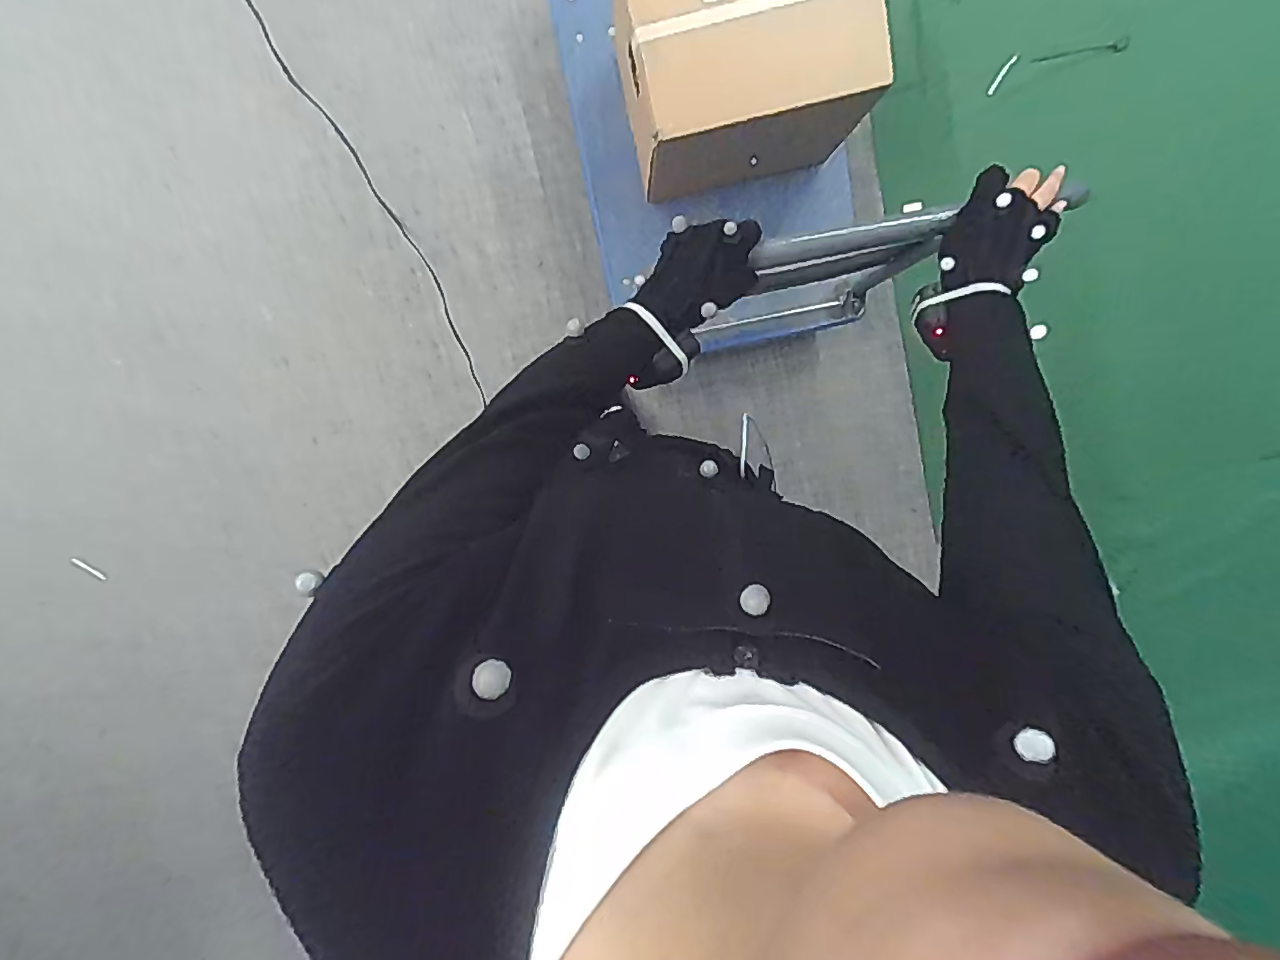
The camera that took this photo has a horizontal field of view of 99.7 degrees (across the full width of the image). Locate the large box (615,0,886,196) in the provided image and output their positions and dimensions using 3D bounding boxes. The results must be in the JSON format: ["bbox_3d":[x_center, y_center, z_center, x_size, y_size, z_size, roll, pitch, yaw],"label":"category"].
[{"bbox_3d":[0.182,-0.792,1.024,0.408,0.320,0.320,-14,99,2],"label":"large box"}]
